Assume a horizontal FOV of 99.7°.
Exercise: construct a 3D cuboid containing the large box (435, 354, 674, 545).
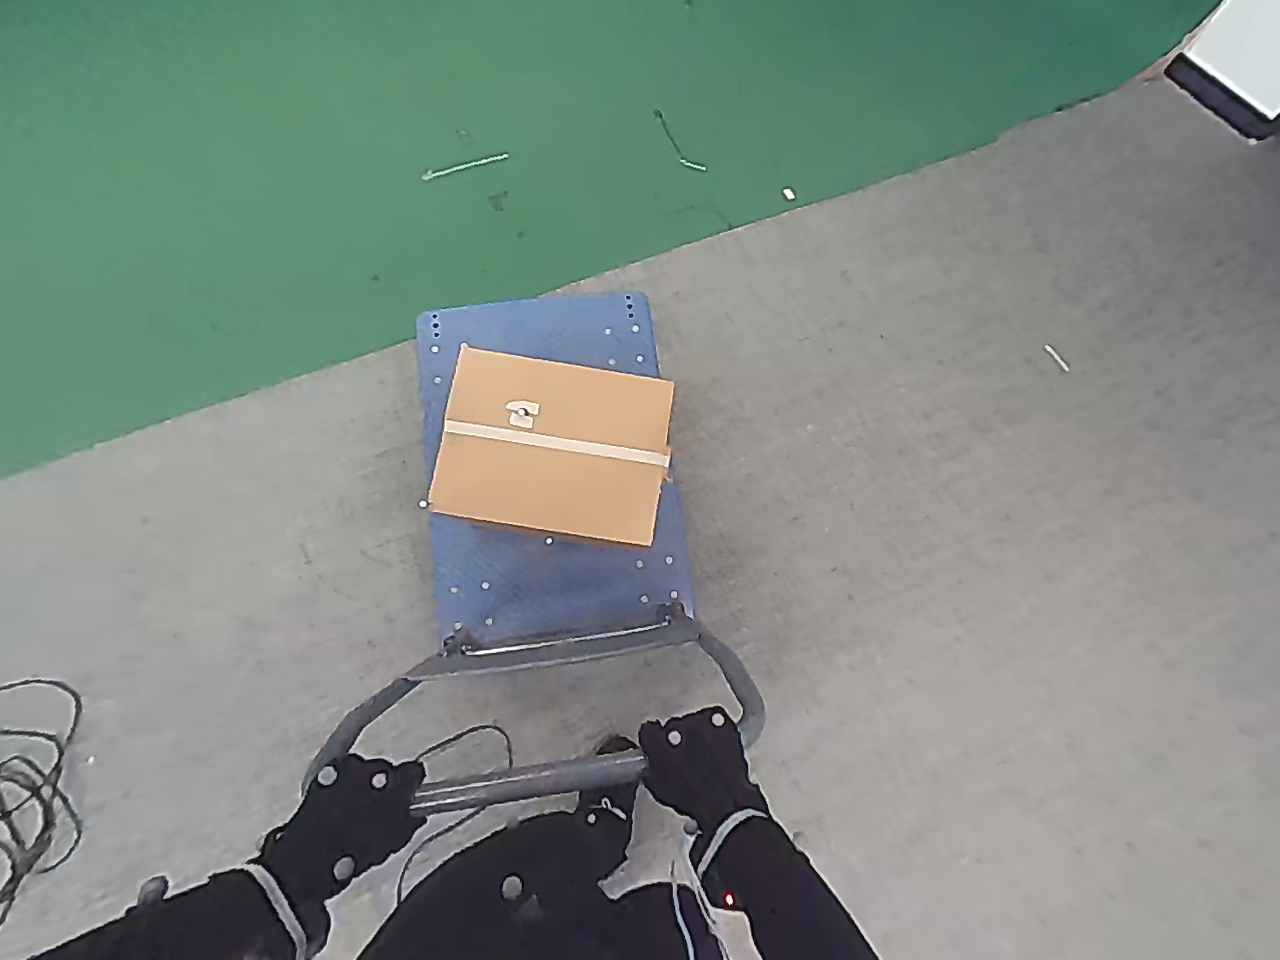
[{"bbox_3d":[-0.153,-0.040,1.127,0.408,0.320,0.320,8,80,-1],"label":"large box"}]
